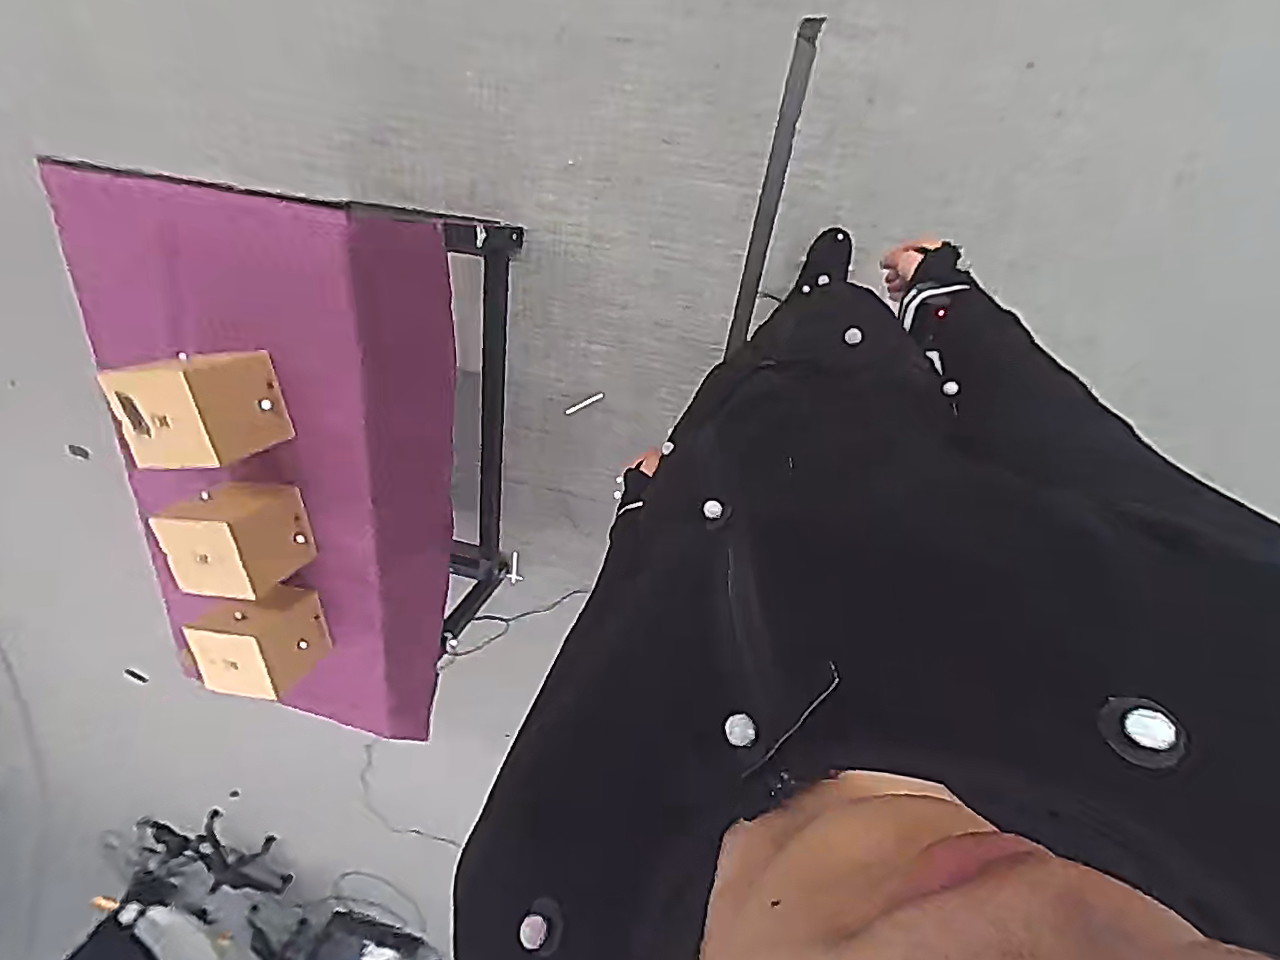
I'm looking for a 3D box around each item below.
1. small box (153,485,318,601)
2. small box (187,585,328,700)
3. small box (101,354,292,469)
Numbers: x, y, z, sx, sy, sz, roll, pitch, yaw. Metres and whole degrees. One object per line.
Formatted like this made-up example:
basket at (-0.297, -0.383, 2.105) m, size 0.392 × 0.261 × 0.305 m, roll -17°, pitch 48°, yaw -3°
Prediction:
small box at (-0.792, 0.117, 1.075) m, size 0.179 × 0.176 × 0.168 m, roll 3°, pitch 114°, yaw 12°
small box at (-0.816, 0.346, 1.179) m, size 0.179 × 0.176 × 0.168 m, roll 4°, pitch 113°, yaw 12°
small box at (-0.775, -0.126, 0.965) m, size 0.179 × 0.176 × 0.168 m, roll 0°, pitch 113°, yaw 12°
